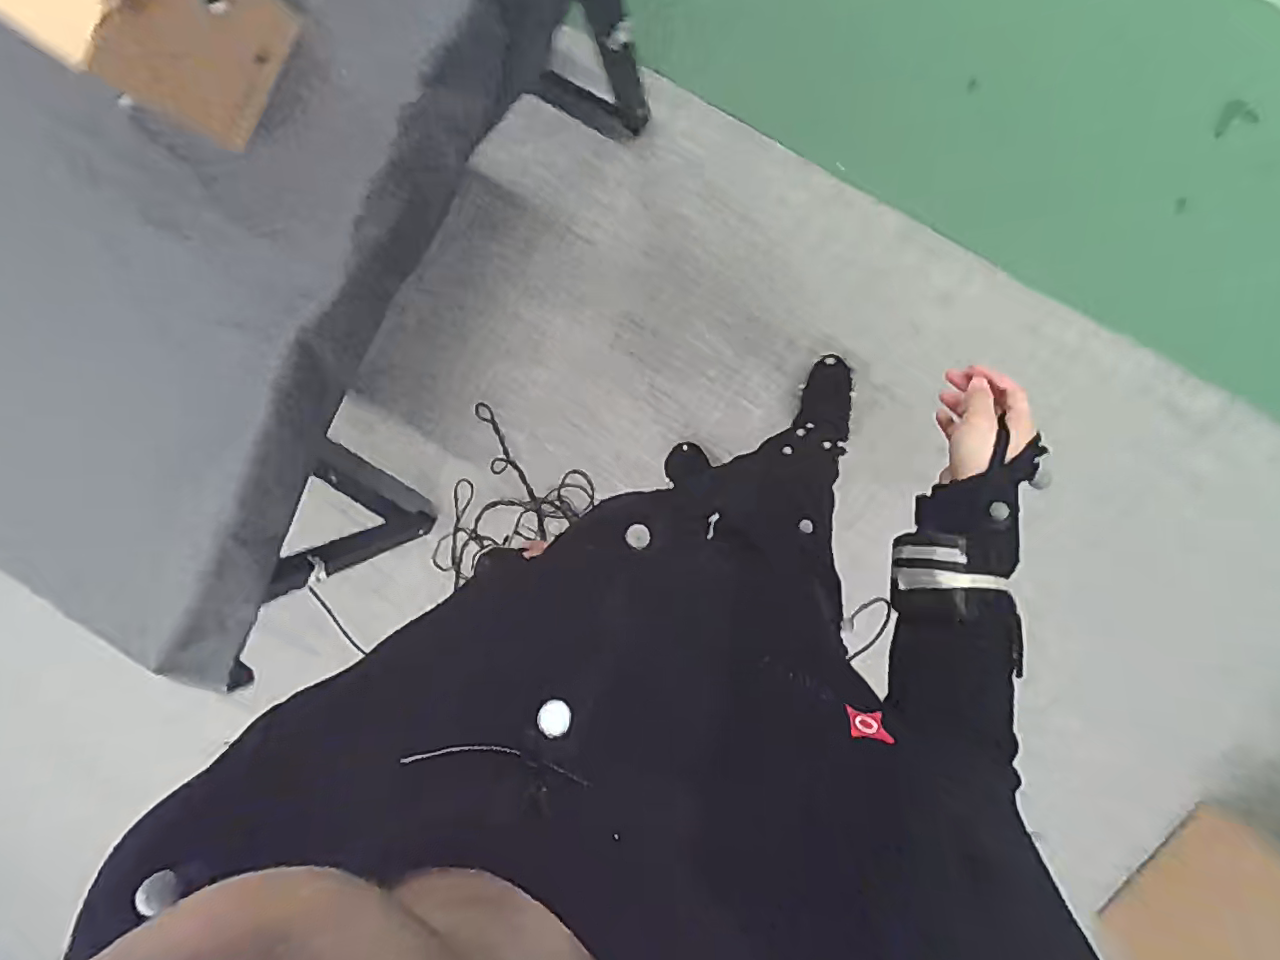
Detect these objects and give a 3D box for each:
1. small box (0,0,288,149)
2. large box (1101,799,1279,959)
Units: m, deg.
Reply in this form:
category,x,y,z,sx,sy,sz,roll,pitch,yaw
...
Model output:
category,x,y,z,sx,sy,sz,roll,pitch,yaw
small box,-0.510,-0.477,0.546,0.179,0.176,0.168,34,99,4
large box,1.324,0.992,1.131,0.320,0.320,0.408,30,101,4
